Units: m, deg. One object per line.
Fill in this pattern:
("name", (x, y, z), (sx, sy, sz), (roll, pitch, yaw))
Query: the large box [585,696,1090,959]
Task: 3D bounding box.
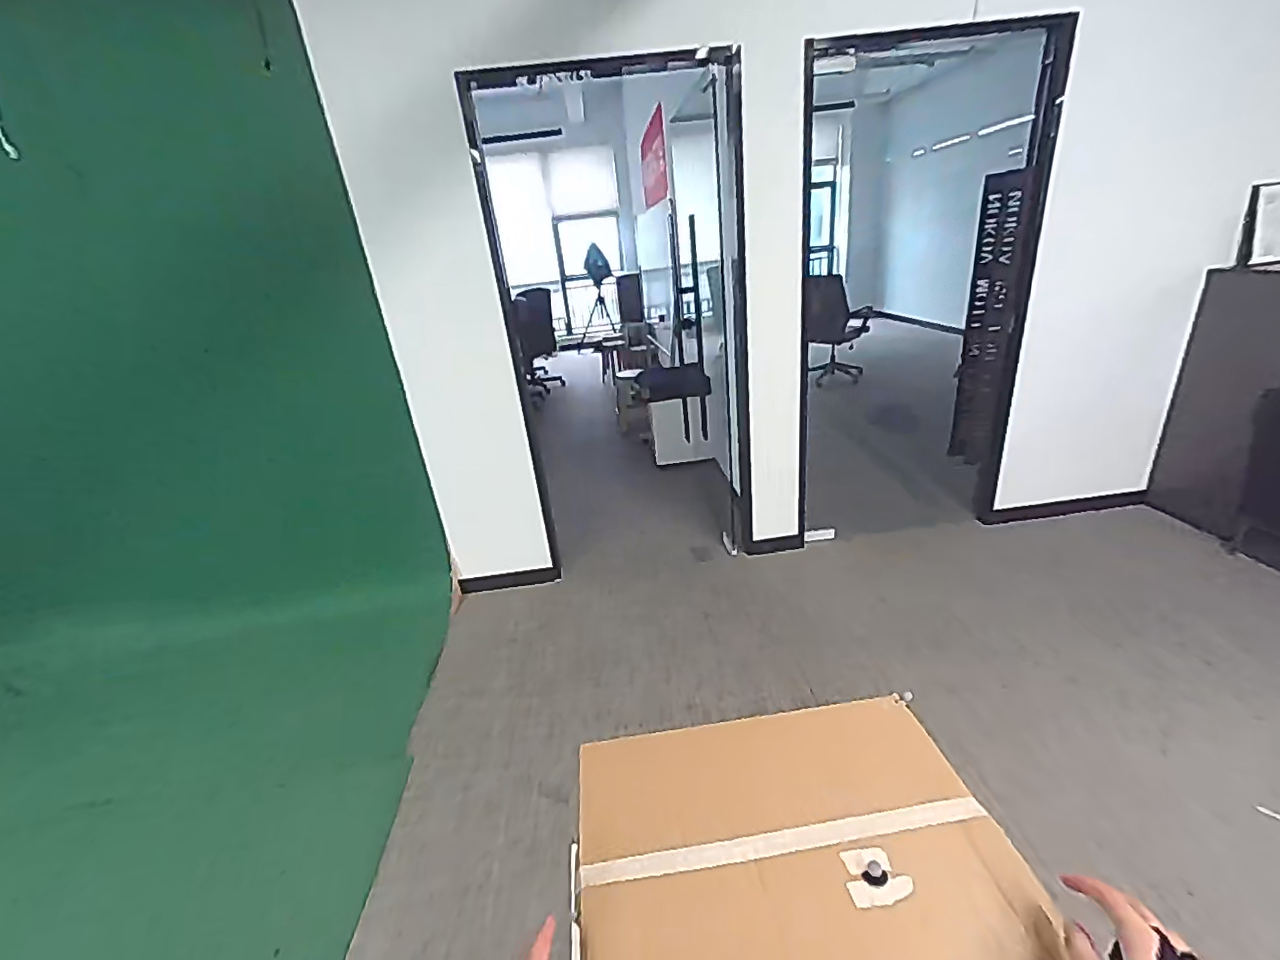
("large box", (0.157, 0.493, 0.592), (0.408, 0.320, 0.320), (-7, 23, -4))
